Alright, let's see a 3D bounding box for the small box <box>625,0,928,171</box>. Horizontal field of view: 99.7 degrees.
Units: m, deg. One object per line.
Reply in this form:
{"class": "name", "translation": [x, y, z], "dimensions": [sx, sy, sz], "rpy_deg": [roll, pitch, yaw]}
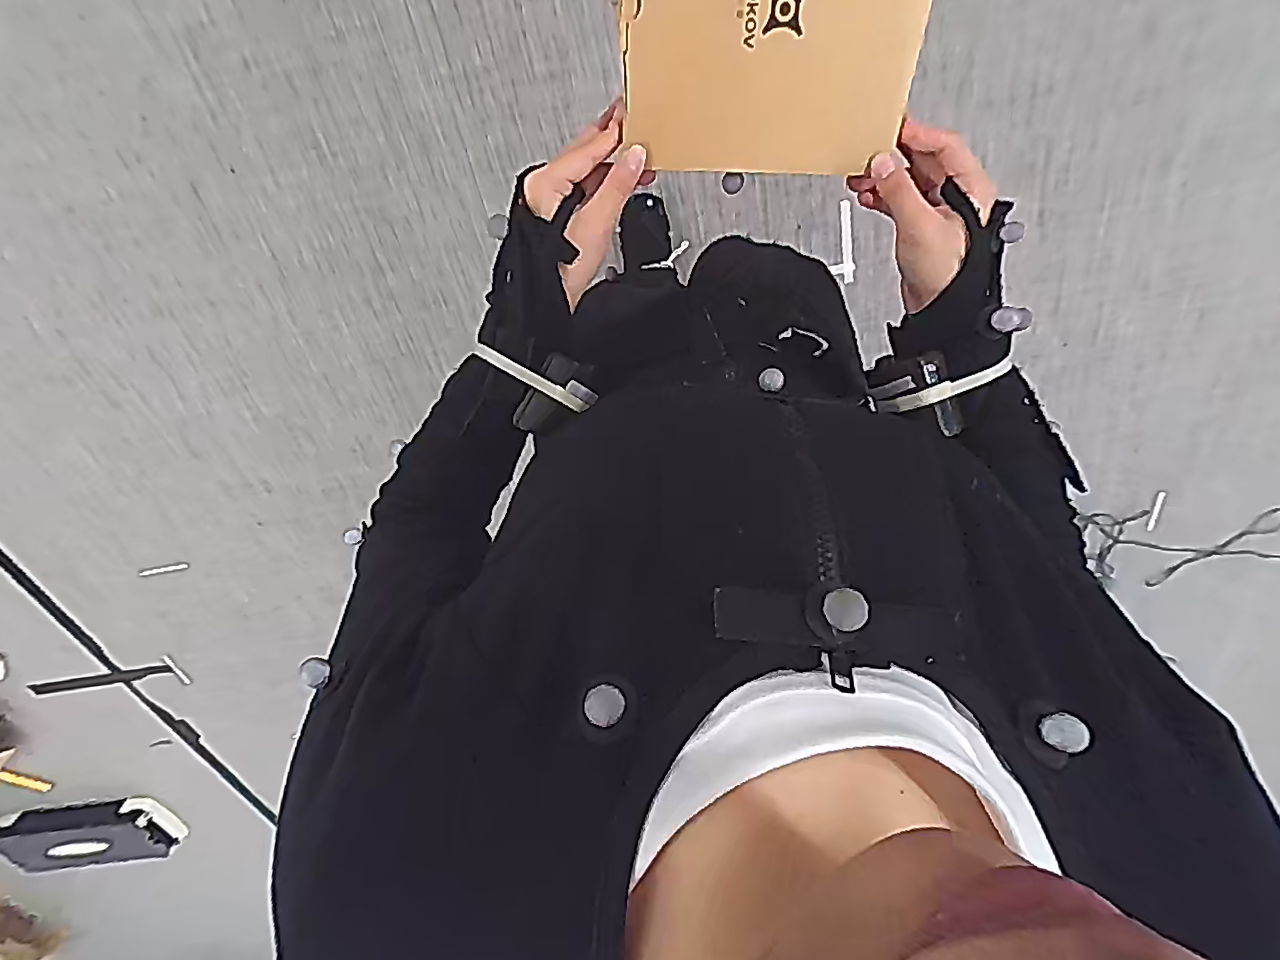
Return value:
{"class": "small box", "translation": [0.079, -0.322, 0.374], "dimensions": [0.179, 0.176, 0.168], "rpy_deg": [1, 127, 0]}
